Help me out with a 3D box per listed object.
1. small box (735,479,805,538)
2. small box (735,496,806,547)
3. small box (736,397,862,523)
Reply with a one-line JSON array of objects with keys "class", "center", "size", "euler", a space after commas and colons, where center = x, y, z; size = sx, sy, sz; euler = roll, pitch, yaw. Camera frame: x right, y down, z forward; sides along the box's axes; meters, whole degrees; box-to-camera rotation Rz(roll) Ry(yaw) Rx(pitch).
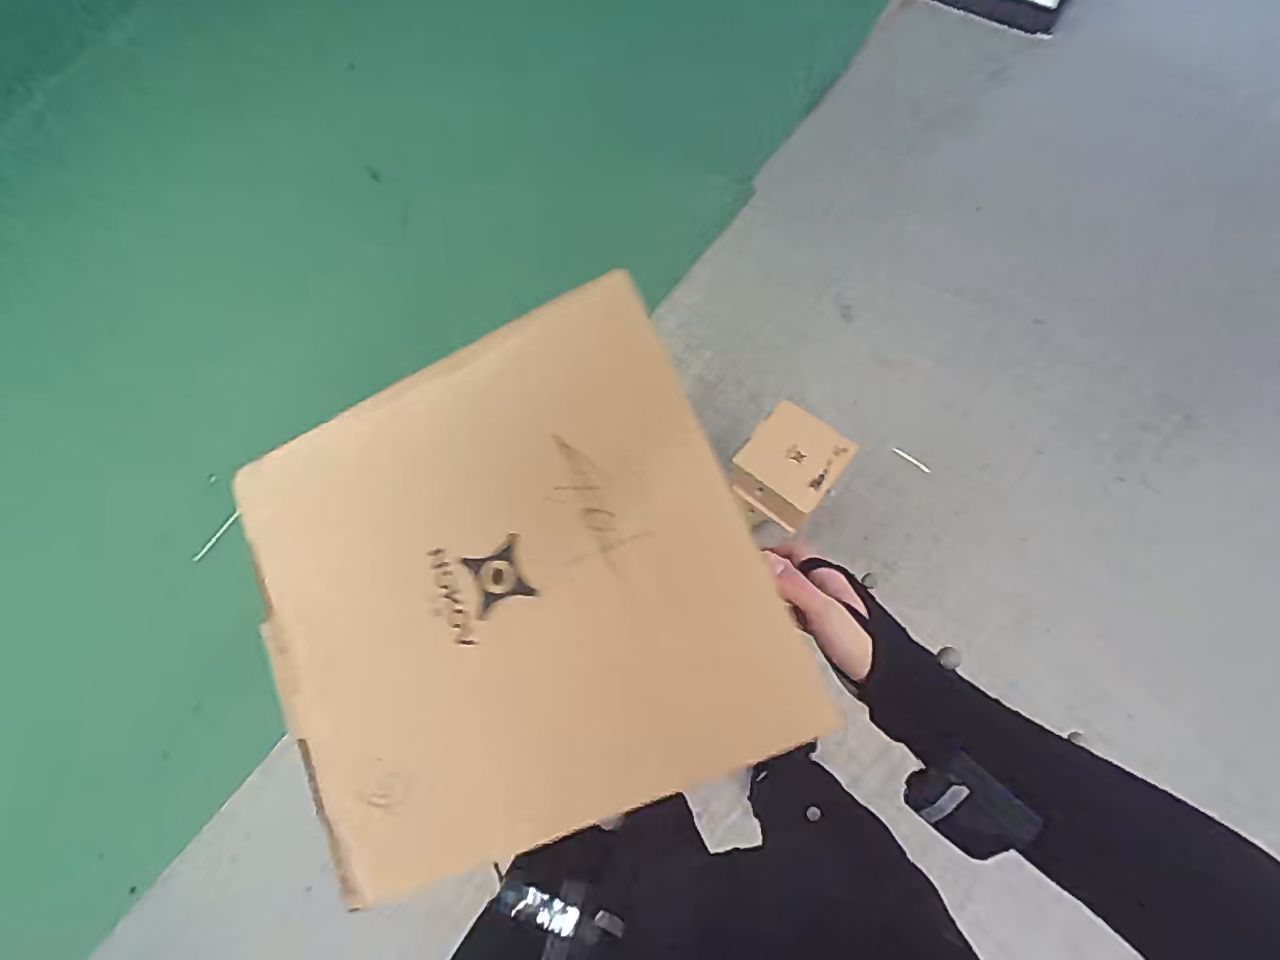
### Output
[{"class": "small box", "center": [0.340, 0.015, 1.258], "size": [0.168, 0.176, 0.179], "euler": [38, 84, 18]}, {"class": "small box", "center": [0.367, 0.056, 1.411], "size": [0.168, 0.176, 0.179], "euler": [40, 85, 17]}, {"class": "small box", "center": [0.315, -0.032, 1.101], "size": [0.179, 0.176, 0.168], "euler": [39, 85, 19]}]
